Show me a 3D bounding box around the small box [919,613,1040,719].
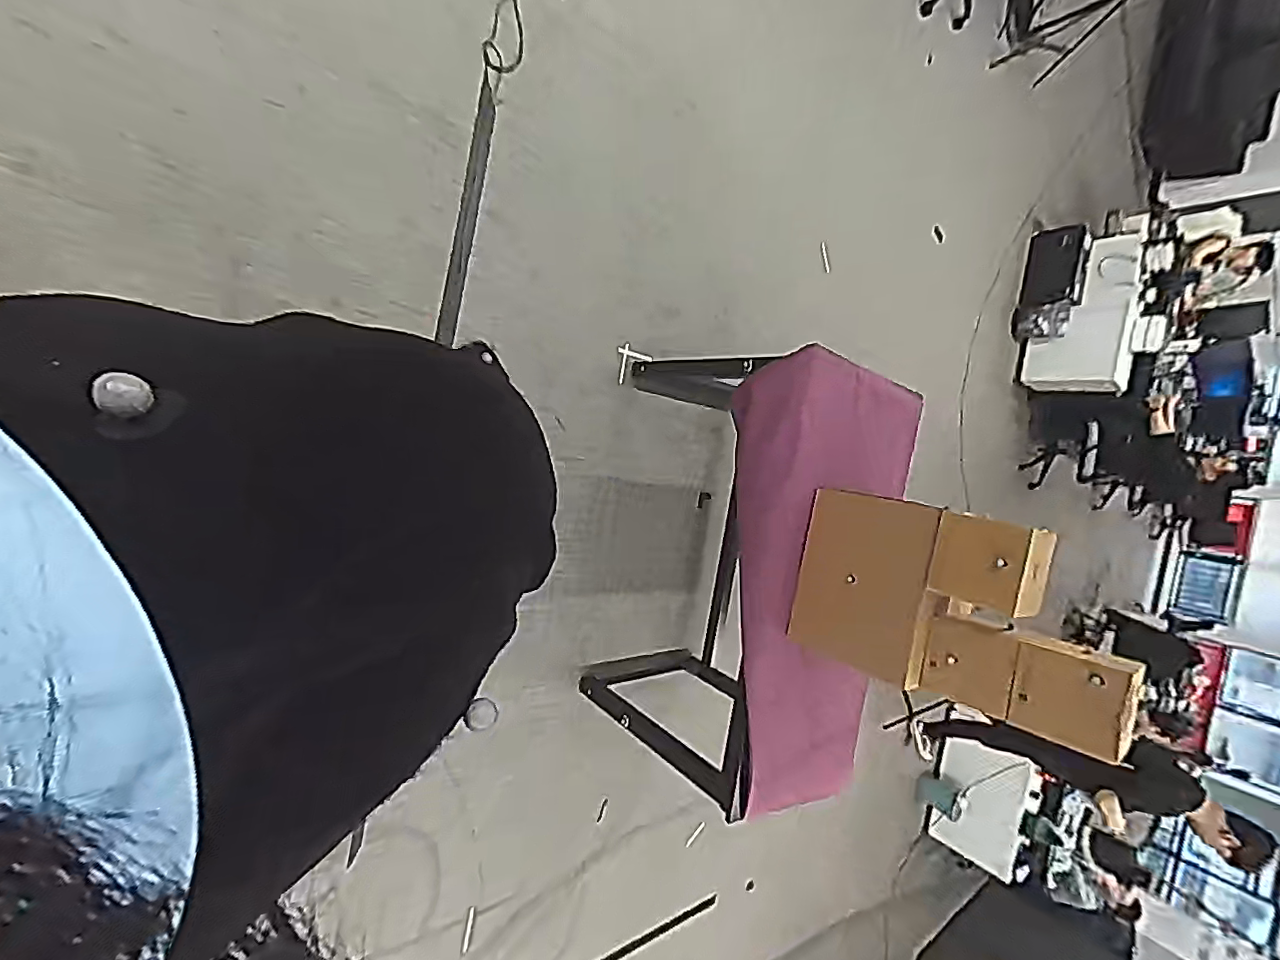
[{"bbox_3d":[0.743,0.395,1.186,0.179,0.176,0.168,10,90,-41],"label":"small box"}]

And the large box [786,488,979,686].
[{"bbox_3d":[0.608,0.251,1.371,0.320,0.320,0.408,9,91,-42],"label":"large box"}]
